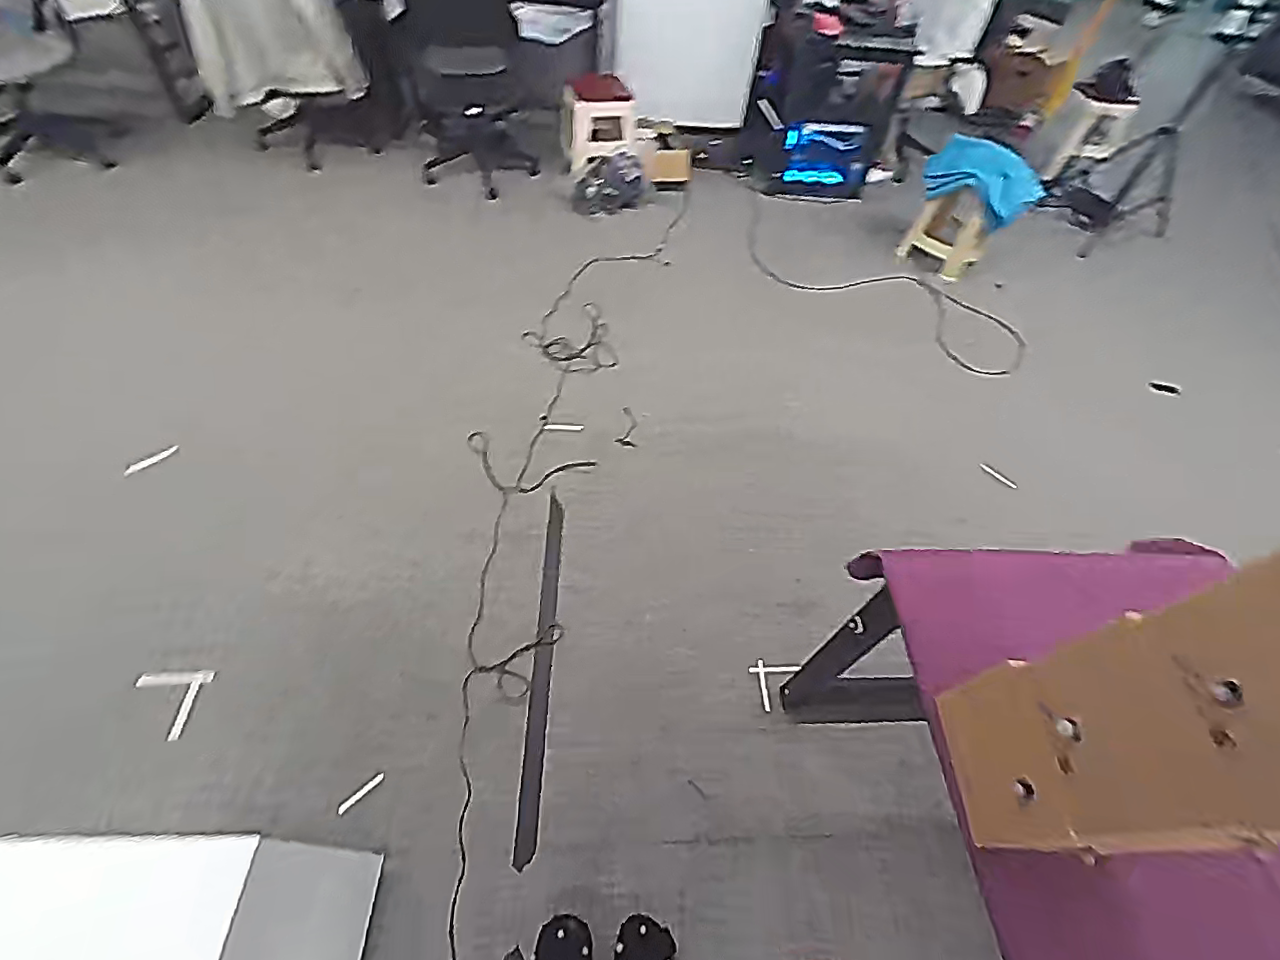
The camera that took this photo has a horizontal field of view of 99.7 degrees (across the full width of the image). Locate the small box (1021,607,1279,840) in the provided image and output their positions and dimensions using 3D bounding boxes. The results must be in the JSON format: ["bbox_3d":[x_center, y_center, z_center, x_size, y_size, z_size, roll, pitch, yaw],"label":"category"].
[{"bbox_3d":[0.516,0.232,0.506,0.179,0.176,0.168,3,53,-2],"label":"small box"}]

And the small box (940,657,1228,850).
[{"bbox_3d":[0.494,0.327,0.639,0.168,0.176,0.179,4,53,-2],"label":"small box"}]
